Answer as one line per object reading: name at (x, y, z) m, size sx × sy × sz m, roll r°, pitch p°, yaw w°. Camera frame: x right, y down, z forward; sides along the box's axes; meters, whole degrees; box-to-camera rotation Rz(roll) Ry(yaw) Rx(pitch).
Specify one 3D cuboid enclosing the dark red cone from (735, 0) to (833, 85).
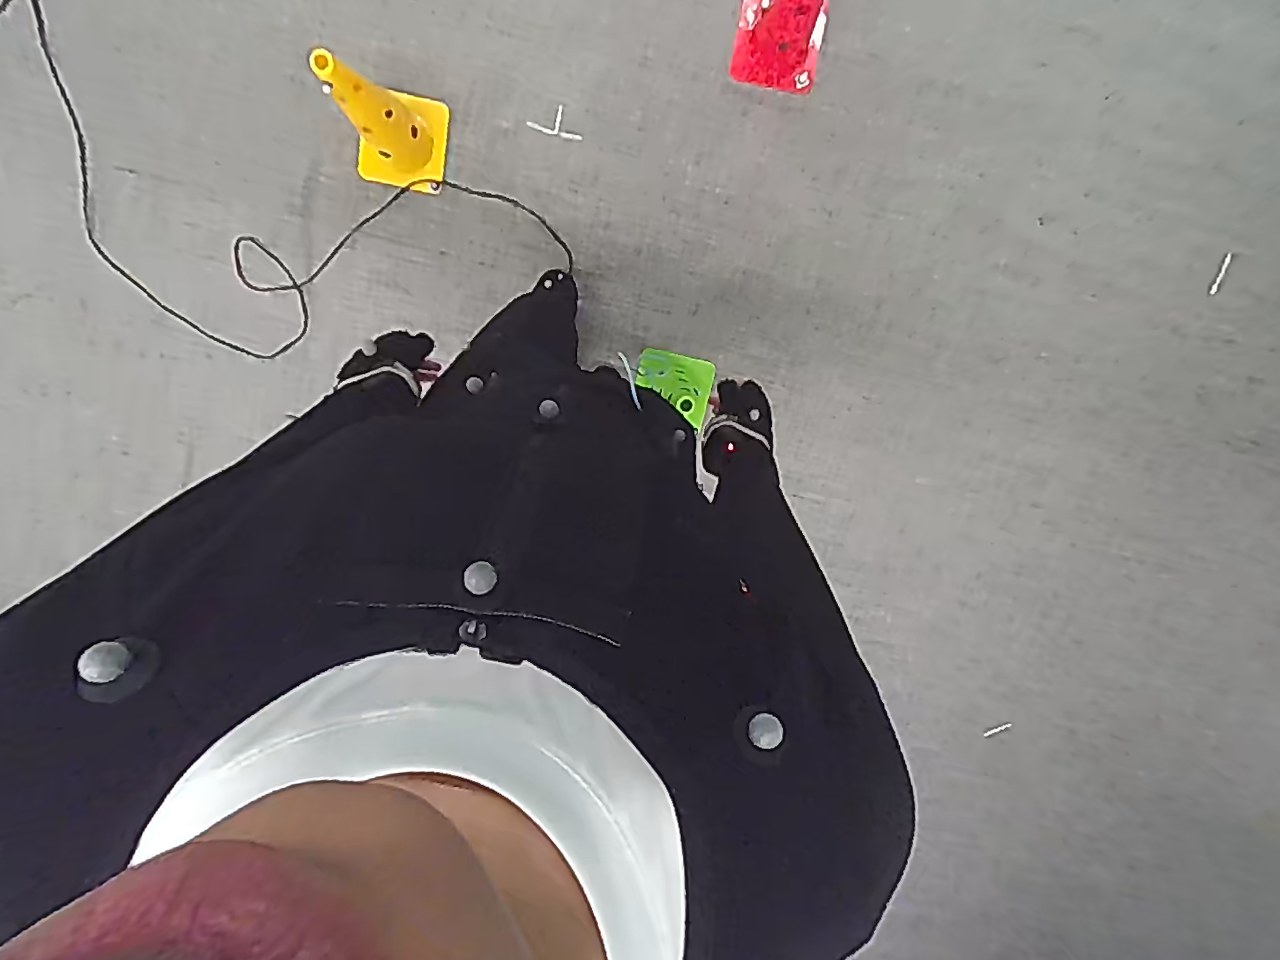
dark red cone at (0.327, -0.982, 1.064) m, size 0.202 × 0.394 × 0.201 m, roll 8°, pitch 101°, yaw -3°

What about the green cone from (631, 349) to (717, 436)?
green cone at (0.090, -0.194, 1.263) m, size 0.202 × 0.368 × 0.200 m, roll 12°, pitch 102°, yaw -3°
